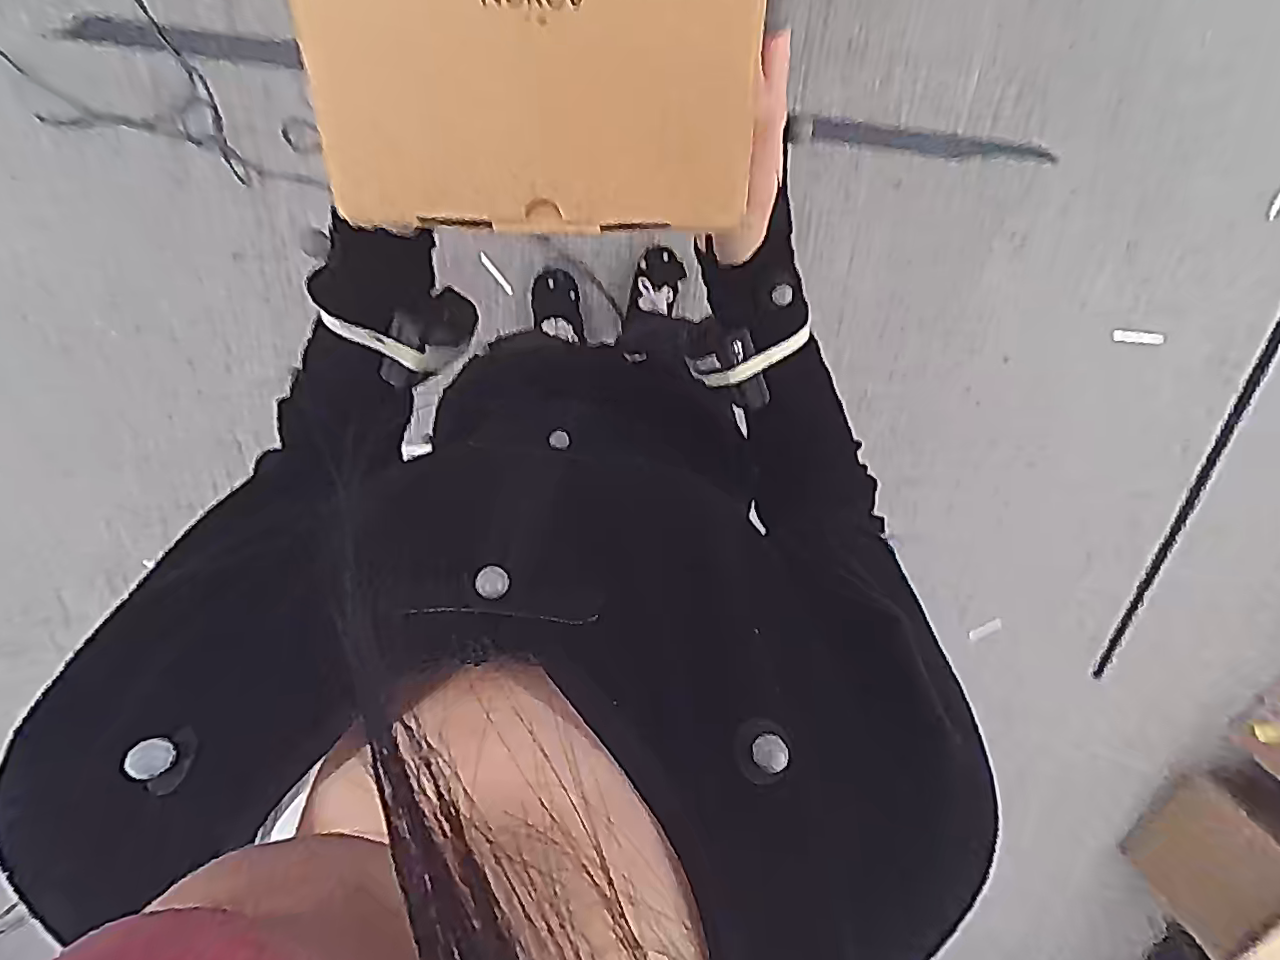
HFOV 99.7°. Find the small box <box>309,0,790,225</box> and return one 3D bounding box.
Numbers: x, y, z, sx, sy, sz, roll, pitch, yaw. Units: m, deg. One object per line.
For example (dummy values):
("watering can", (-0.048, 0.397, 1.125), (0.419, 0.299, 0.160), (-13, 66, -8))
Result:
("small box", (-0.033, -0.218, 0.245), (0.168, 0.176, 0.179), (0, 119, -2))

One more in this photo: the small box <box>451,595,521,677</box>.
("small box", (-0.455, 0.457, 1.616), (0.168, 0.176, 0.179), (-2, 113, -4))

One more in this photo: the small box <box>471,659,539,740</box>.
("small box", (-0.425, 0.695, 1.722), (0.179, 0.176, 0.168), (-3, 114, -4))

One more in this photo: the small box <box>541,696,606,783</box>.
("small box", (-0.191, 0.755, 1.583), (0.179, 0.176, 0.168), (1, 114, -5))
